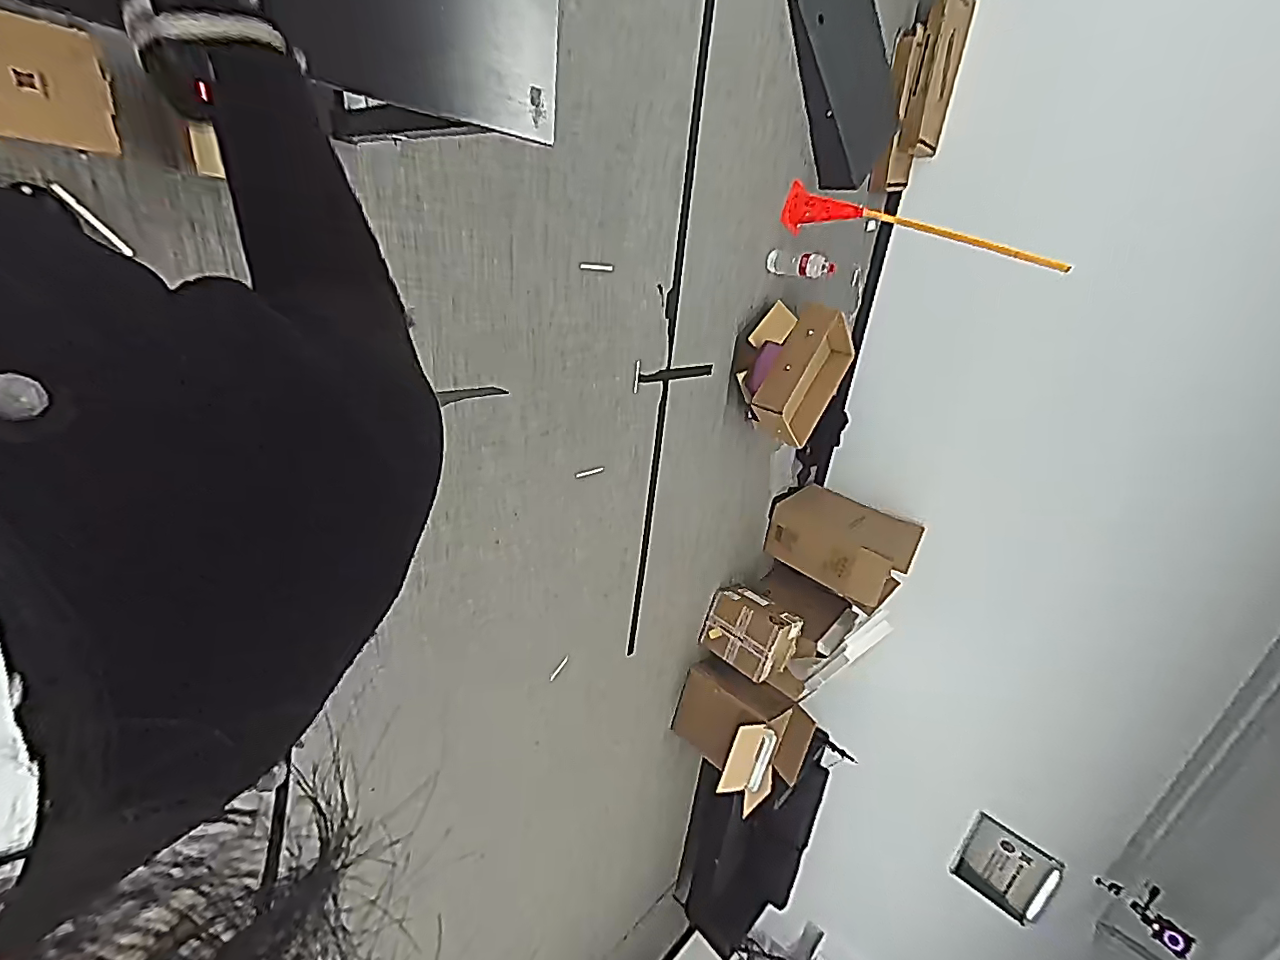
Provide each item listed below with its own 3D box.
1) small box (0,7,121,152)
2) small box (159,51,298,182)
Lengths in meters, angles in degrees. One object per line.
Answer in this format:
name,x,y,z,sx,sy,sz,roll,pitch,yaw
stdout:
small box,-0.968,-0.628,0.852,0.179,0.176,0.168,-17,123,-43
small box,-0.786,-0.680,1.035,0.168,0.176,0.179,-18,124,-43
